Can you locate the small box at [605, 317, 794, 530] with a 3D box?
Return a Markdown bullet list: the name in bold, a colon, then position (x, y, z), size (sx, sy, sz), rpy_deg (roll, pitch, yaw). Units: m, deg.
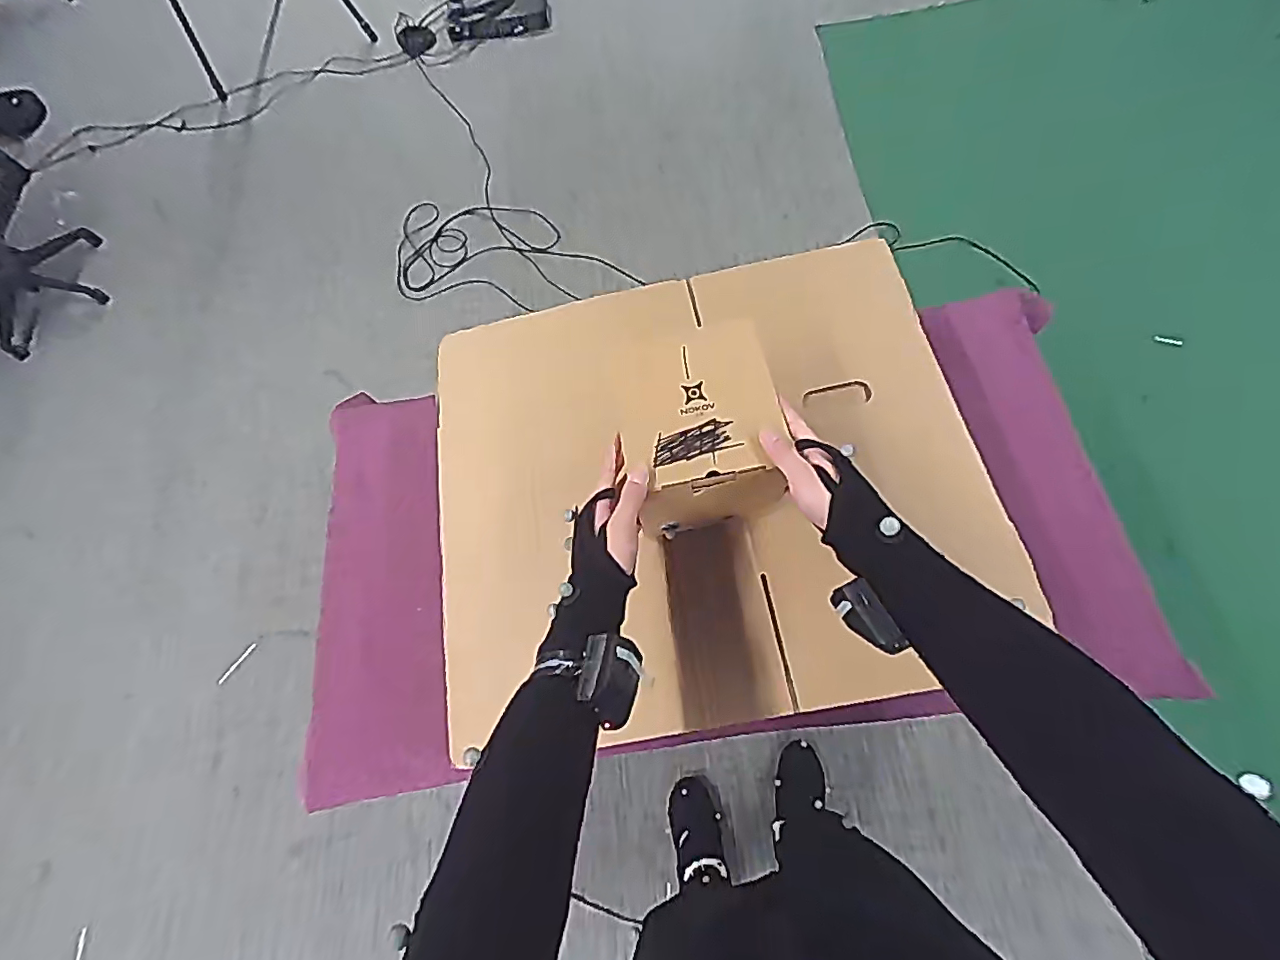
- **small box**: position (0.063, -0.051, 0.619), size (0.168, 0.176, 0.179), rpy_deg (-11, 68, 1)
